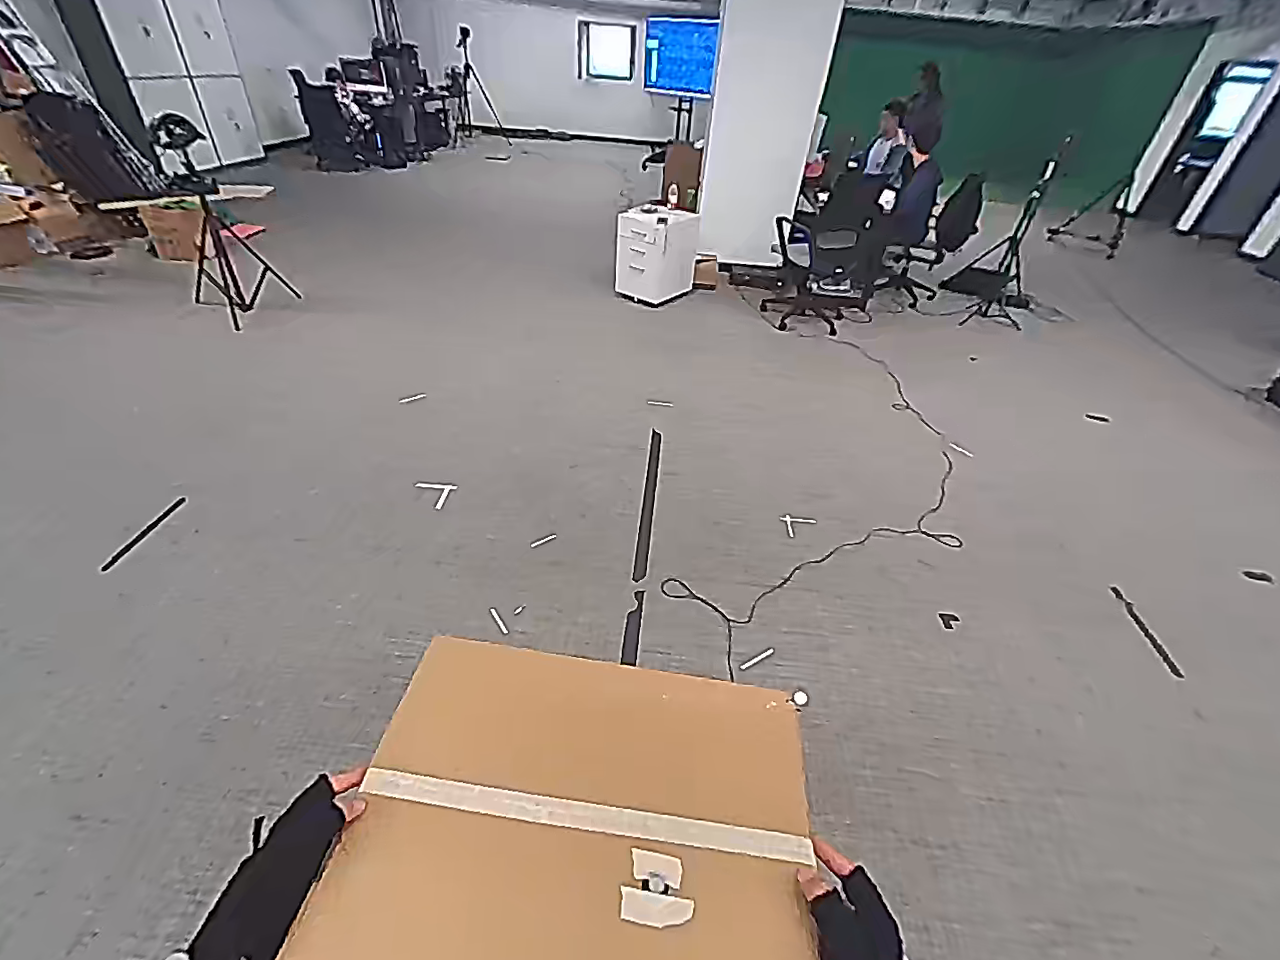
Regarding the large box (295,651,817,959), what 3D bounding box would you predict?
[{"bbox_3d":[-0.064,0.428,0.577,0.408,0.320,0.320,9,39,1],"label":"large box"}]
